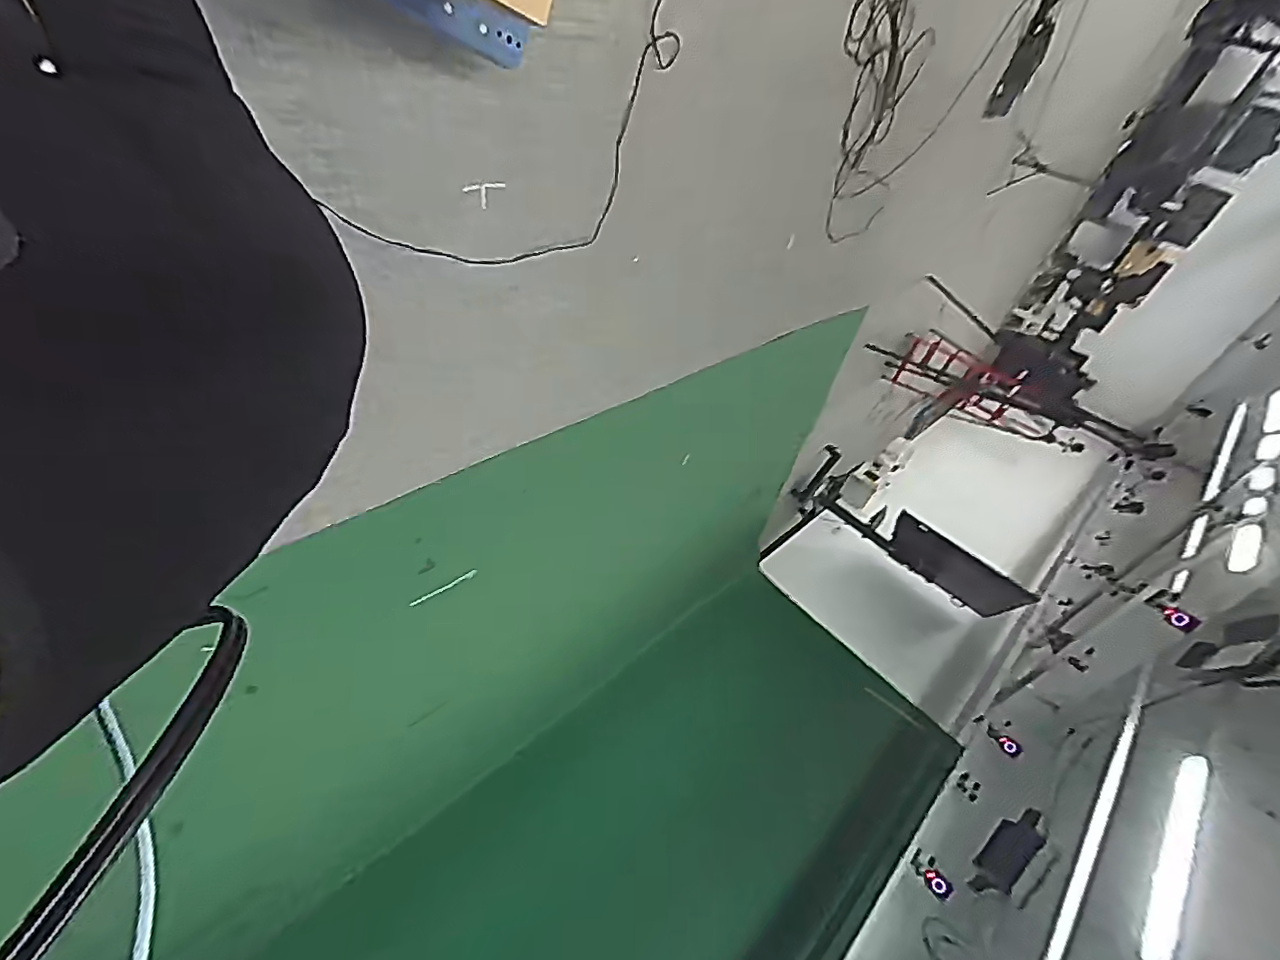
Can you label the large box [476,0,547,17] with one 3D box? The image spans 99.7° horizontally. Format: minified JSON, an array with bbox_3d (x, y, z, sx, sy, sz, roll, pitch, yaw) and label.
[{"bbox_3d":[-0.298,-0.984,0.766,0.320,0.320,0.408,-14,136,-47],"label":"large box"}]
